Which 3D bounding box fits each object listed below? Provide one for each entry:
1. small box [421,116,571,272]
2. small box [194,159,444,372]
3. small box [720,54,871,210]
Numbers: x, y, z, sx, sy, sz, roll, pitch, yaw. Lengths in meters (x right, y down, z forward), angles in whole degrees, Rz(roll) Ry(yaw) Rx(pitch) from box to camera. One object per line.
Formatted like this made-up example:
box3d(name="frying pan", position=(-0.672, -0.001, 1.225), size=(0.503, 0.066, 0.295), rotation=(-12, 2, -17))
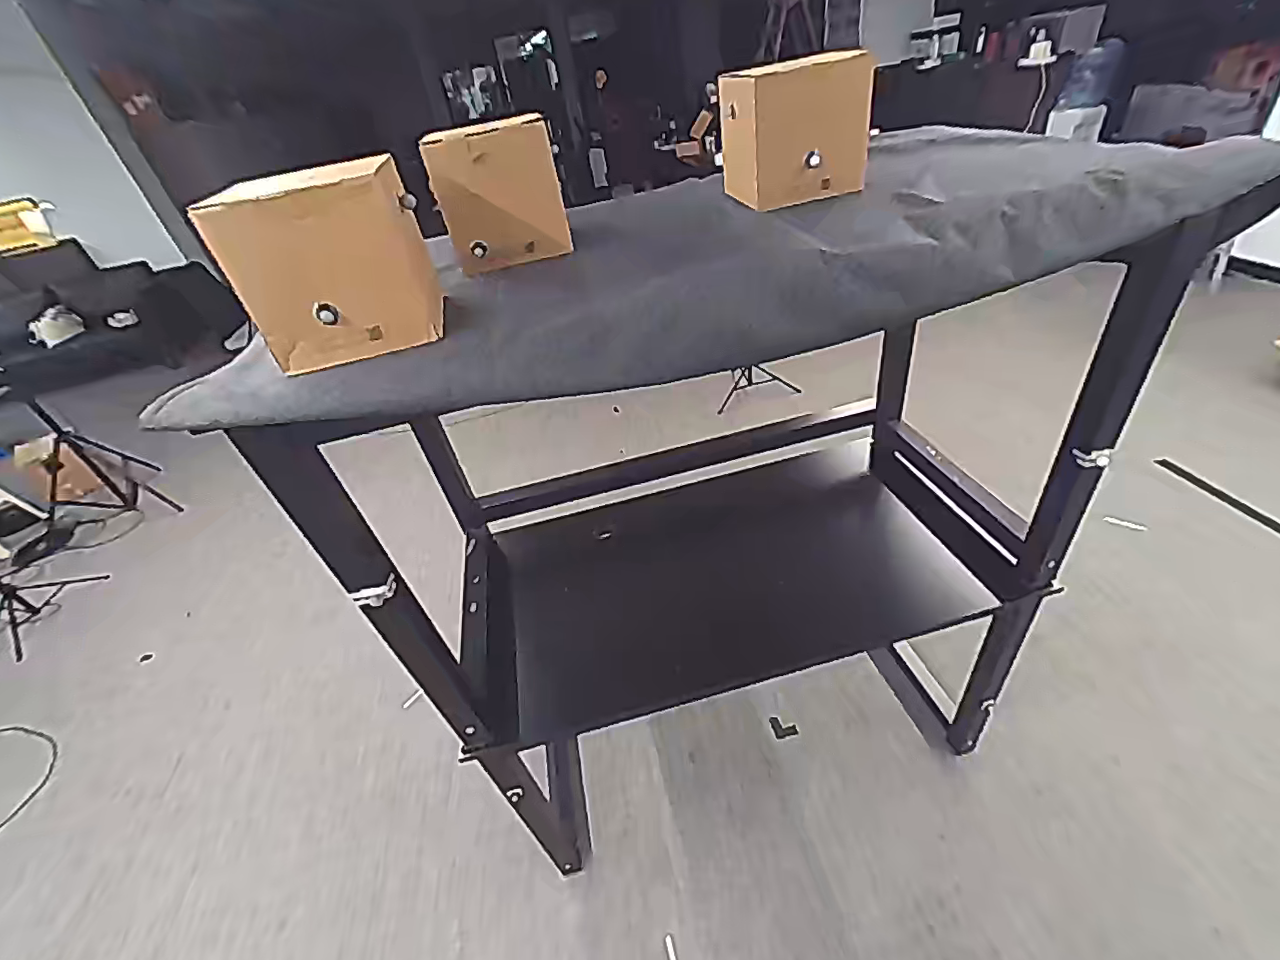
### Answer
box3d(name="small box", position=(-0.206, -0.425, 0.808), size=(0.168, 0.176, 0.179), rotation=(-14, 37, -4))
box3d(name="small box", position=(-0.330, -0.242, 0.602), size=(0.168, 0.176, 0.179), rotation=(-17, 38, -7))
box3d(name="small box", position=(0.226, -0.527, 0.825), size=(0.168, 0.176, 0.179), rotation=(-13, 38, -2))
